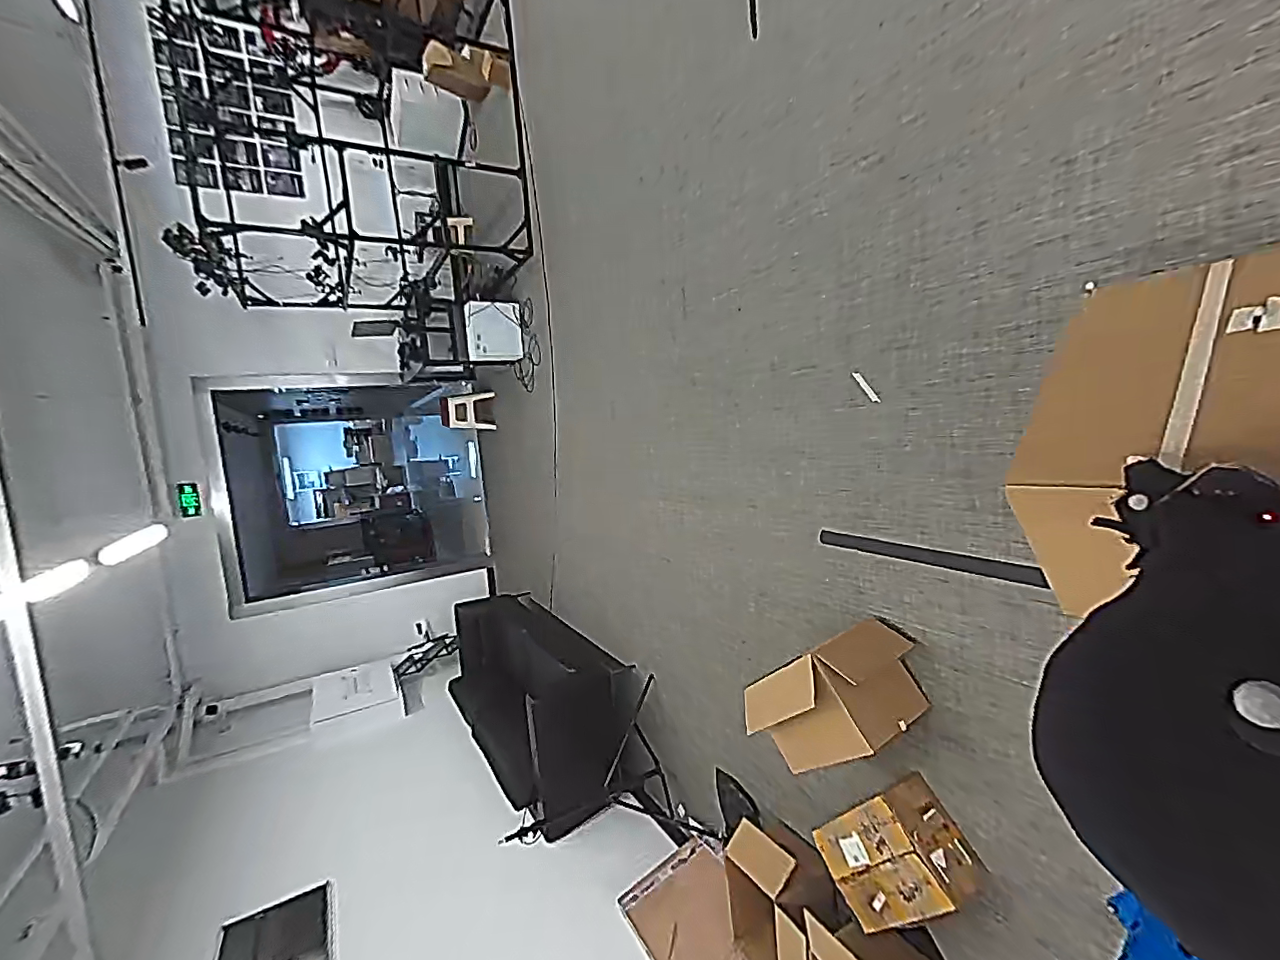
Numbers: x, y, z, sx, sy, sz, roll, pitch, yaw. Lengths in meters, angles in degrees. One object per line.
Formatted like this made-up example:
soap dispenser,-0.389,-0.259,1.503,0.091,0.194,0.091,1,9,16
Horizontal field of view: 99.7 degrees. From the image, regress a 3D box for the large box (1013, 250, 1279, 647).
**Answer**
large box,0.767,-0.041,0.715,0.320,0.408,0.320,48,156,-27
